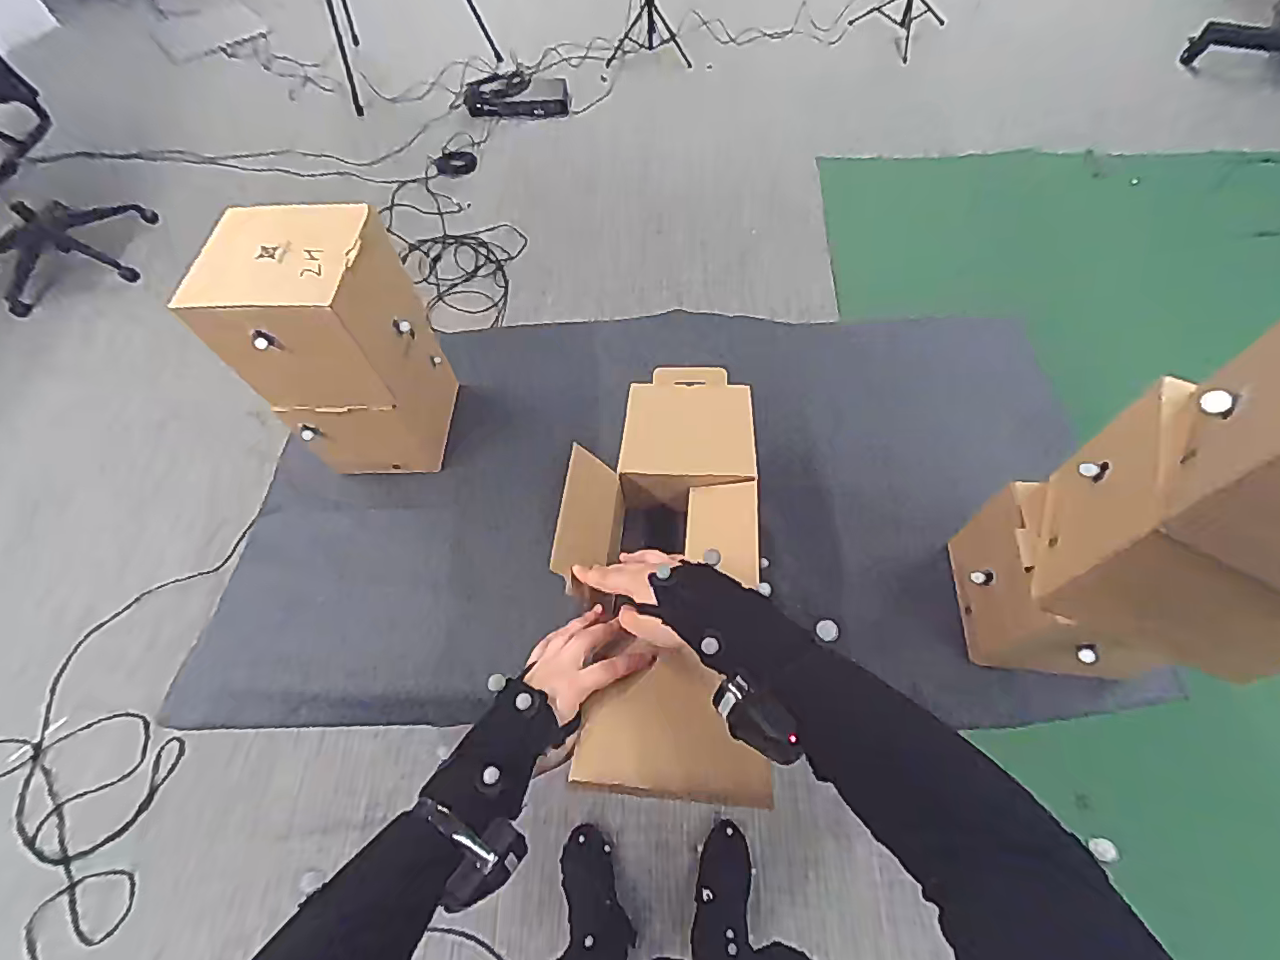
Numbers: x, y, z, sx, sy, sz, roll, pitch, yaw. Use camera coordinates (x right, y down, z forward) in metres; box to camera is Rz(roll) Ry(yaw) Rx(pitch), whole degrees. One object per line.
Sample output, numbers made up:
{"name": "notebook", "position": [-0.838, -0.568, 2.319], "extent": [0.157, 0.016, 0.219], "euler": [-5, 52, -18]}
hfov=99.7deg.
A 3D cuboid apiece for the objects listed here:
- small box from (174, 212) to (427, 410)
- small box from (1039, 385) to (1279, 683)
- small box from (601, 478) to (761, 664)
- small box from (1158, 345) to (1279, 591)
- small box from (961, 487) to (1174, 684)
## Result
{"name": "small box", "position": [-0.390, -0.198, 0.660], "extent": [0.179, 0.176, 0.168], "euler": [0, 62, 2]}
{"name": "small box", "position": [0.492, 0.053, 0.471], "extent": [0.179, 0.176, 0.168], "euler": [23, 62, 16]}
{"name": "small box", "position": [0.054, 0.115, 0.652], "extent": [0.168, 0.176, 0.179], "euler": [2, 59, 5]}
{"name": "small box", "position": [0.482, -0.014, 0.319], "extent": [0.179, 0.176, 0.168], "euler": [33, 64, 21]}
{"name": "small box", "position": [0.496, 0.125, 0.618], "extent": [0.179, 0.176, 0.168], "euler": [4, 58, 6]}
